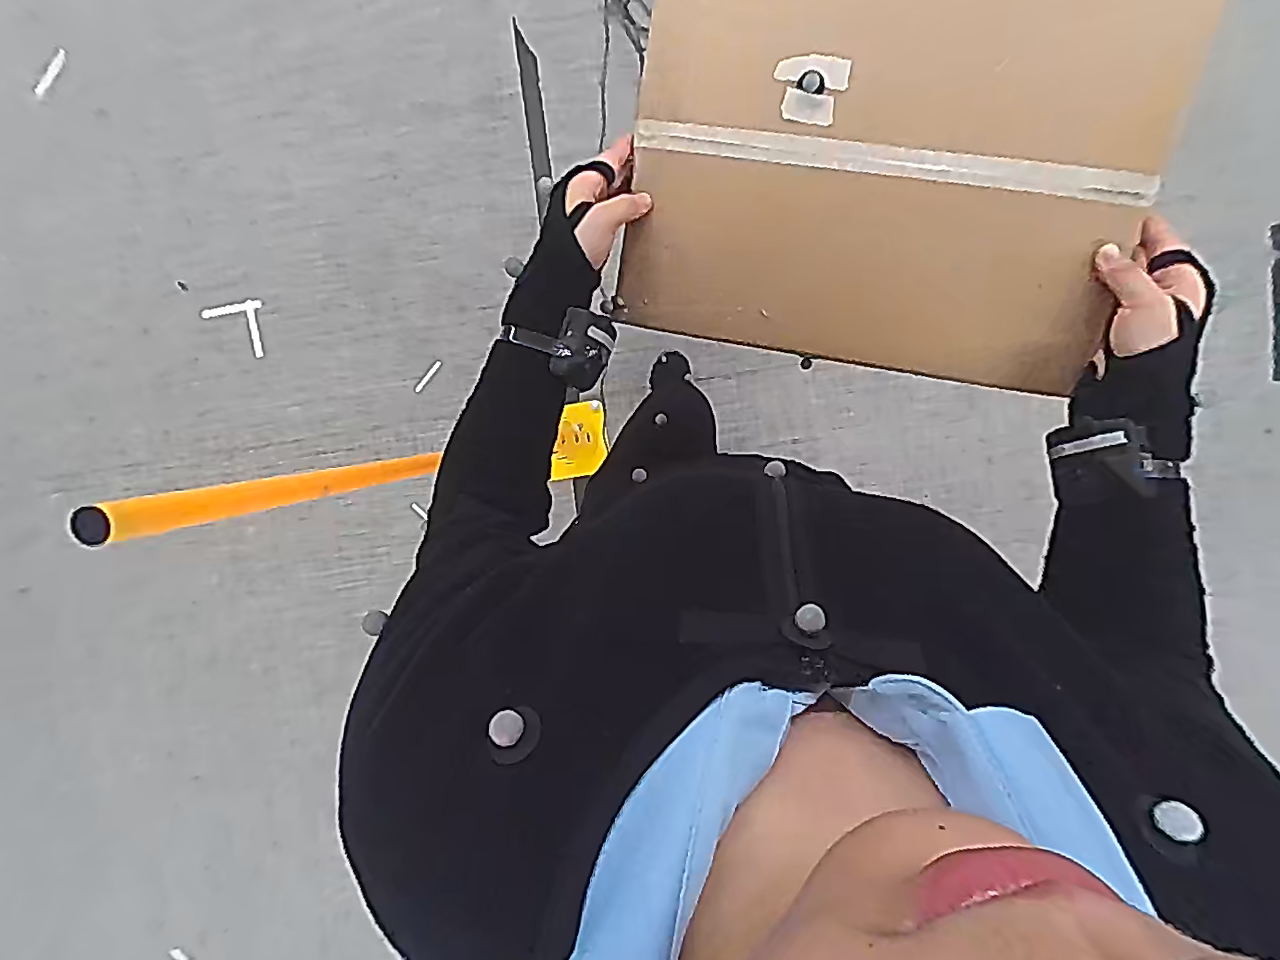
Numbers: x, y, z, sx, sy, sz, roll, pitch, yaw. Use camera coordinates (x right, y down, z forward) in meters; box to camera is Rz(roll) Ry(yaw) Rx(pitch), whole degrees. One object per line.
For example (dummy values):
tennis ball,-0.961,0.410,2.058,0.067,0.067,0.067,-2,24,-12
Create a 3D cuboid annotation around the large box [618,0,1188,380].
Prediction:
large box,0.219,-0.301,0.597,0.408,0.320,0.320,11,104,8
